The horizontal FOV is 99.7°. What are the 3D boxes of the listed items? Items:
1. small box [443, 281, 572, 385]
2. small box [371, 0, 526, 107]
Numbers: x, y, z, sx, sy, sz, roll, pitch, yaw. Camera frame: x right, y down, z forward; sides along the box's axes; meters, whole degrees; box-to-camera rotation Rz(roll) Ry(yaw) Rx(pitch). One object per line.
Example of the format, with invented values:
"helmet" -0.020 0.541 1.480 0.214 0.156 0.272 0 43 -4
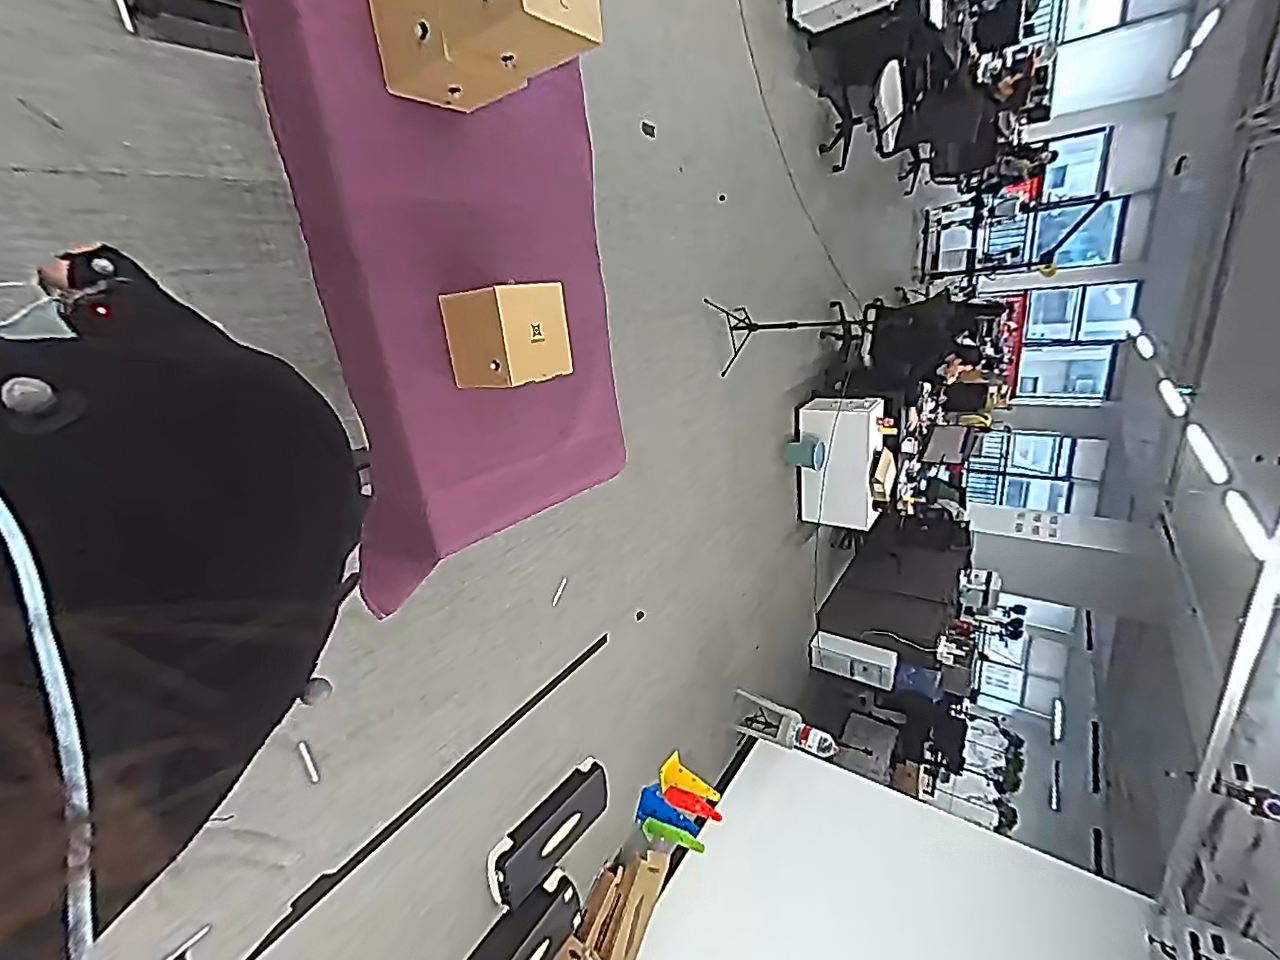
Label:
"small box" -0.257 -0.284 1.049 0.168 0.176 0.179 -29 120 -48
"small box" -0.313 -0.738 0.878 0.168 0.176 0.179 -28 119 -49
